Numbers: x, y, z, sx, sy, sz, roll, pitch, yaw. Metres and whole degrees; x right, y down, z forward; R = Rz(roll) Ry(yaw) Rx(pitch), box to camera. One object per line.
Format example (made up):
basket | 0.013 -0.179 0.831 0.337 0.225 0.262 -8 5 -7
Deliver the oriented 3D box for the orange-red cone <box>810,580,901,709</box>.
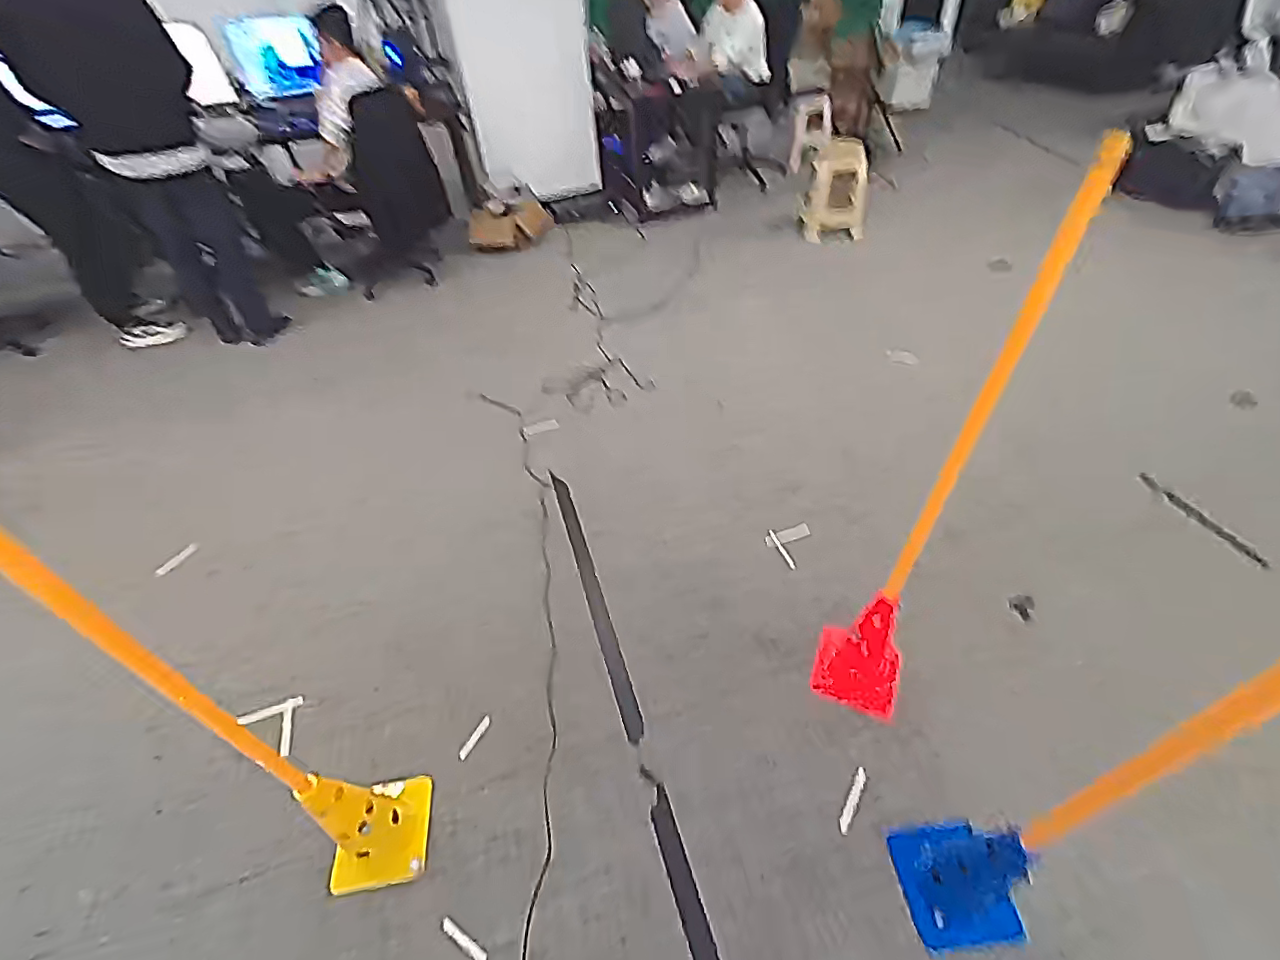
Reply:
orange-red cone | 0.541 0.352 1.273 0.198 0.360 0.199 16 50 22

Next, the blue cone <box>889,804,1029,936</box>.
blue cone | 0.608 0.668 0.969 0.193 0.380 0.192 -6 44 0
